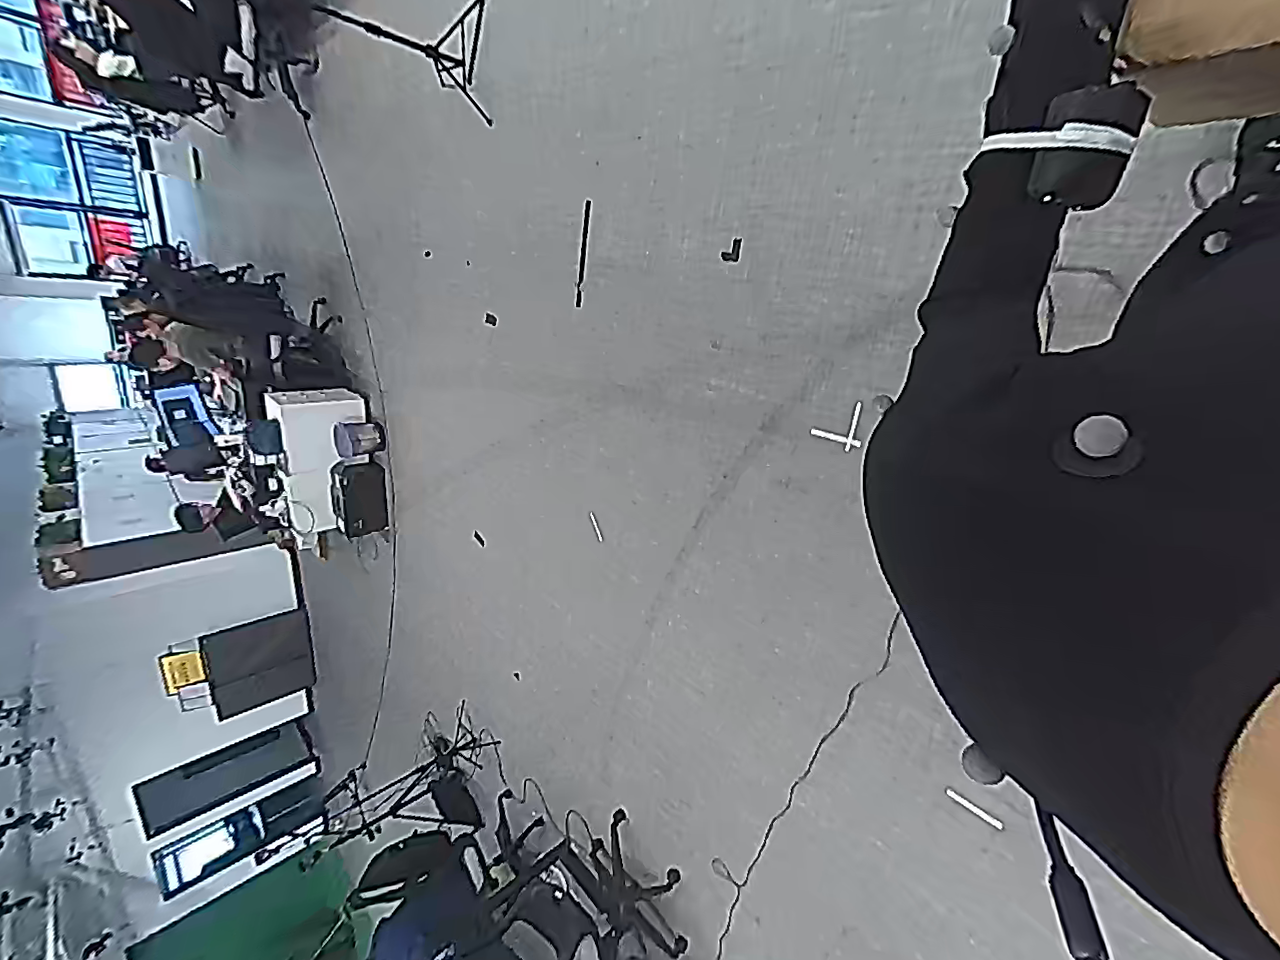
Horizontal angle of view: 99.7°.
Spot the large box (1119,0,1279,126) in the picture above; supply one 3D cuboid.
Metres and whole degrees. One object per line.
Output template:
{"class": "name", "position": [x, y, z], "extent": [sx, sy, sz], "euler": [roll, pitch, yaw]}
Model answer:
{"class": "large box", "position": [0.557, -0.415, 0.275], "extent": [0.408, 0.320, 0.320], "euler": [19, 121, 41]}
